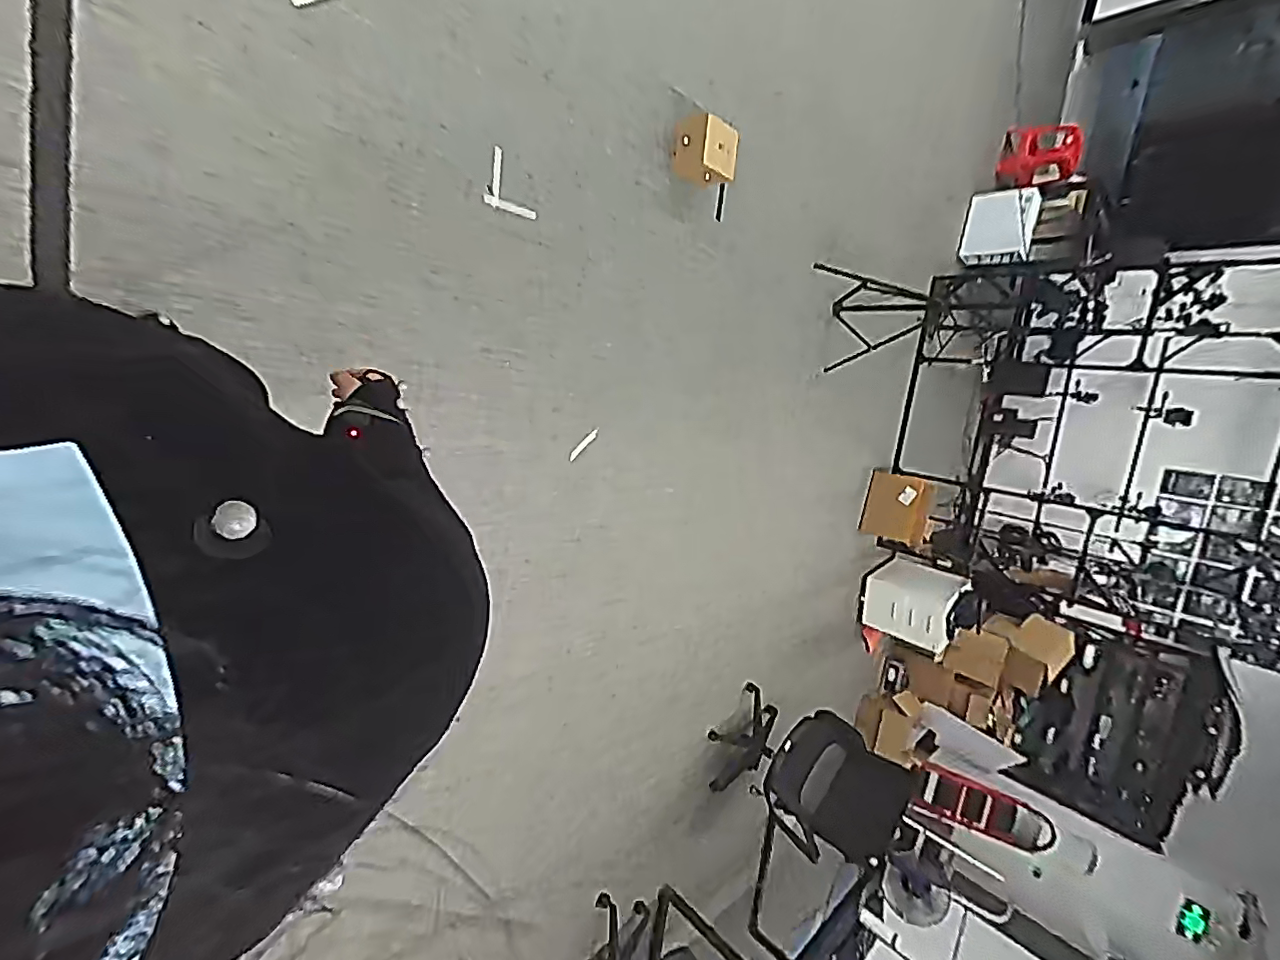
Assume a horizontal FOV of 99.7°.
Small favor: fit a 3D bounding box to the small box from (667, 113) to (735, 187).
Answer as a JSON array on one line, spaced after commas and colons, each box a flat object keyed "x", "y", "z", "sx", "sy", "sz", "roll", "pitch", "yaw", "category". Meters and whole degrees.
[{"x": 0.217, "y": -1.189, "z": 1.966, "sx": 0.179, "sy": 0.176, "sz": 0.168, "roll": -3, "pitch": 104, "yaw": -45, "category": "small box"}]
